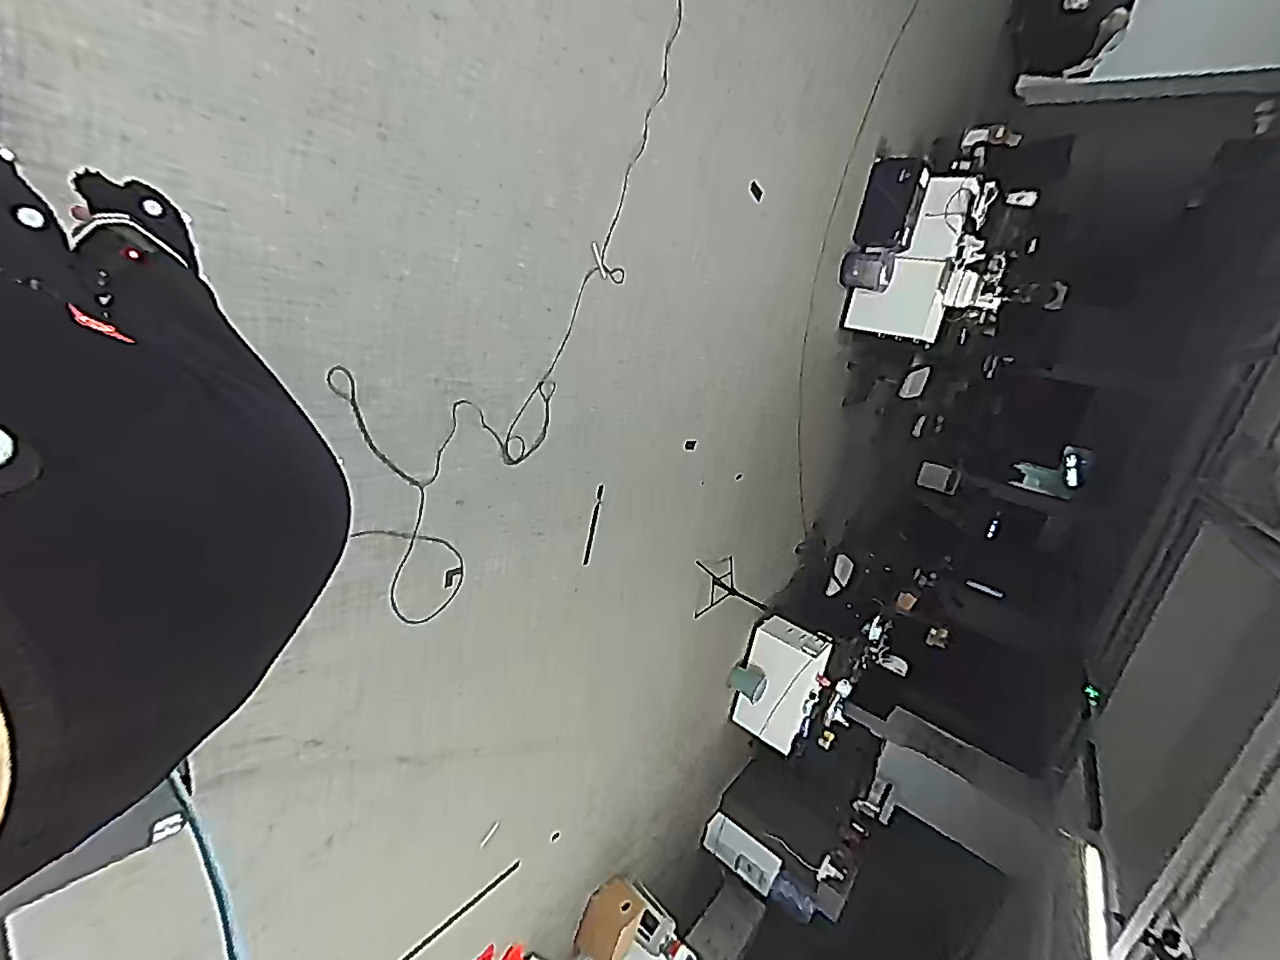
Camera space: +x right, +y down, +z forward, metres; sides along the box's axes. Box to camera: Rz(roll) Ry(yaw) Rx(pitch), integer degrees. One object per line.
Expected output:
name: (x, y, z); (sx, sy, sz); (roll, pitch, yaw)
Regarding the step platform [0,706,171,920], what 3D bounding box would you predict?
step platform: (-1.358, 0.736, 1.045); (0.684, 0.204, 0.286); (-12, 118, -50)
